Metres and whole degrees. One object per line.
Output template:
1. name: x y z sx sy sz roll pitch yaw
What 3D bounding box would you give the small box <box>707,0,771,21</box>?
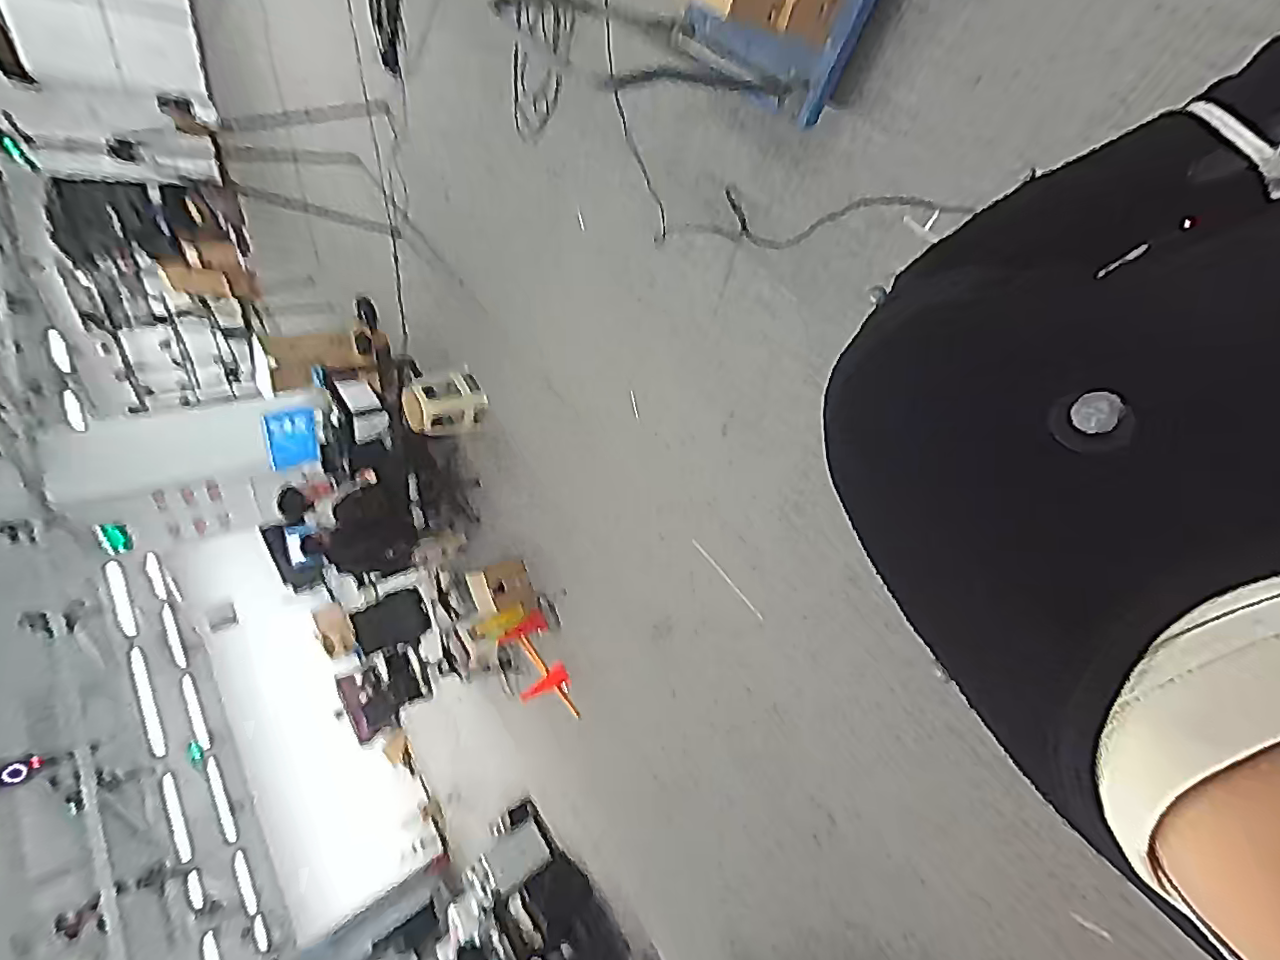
1. small box: 0.213 -1.169 1.210 0.179 0.176 0.168 51 137 24

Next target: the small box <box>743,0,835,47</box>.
1. small box: 0.354 -1.201 1.306 0.179 0.176 0.168 -20 92 52
